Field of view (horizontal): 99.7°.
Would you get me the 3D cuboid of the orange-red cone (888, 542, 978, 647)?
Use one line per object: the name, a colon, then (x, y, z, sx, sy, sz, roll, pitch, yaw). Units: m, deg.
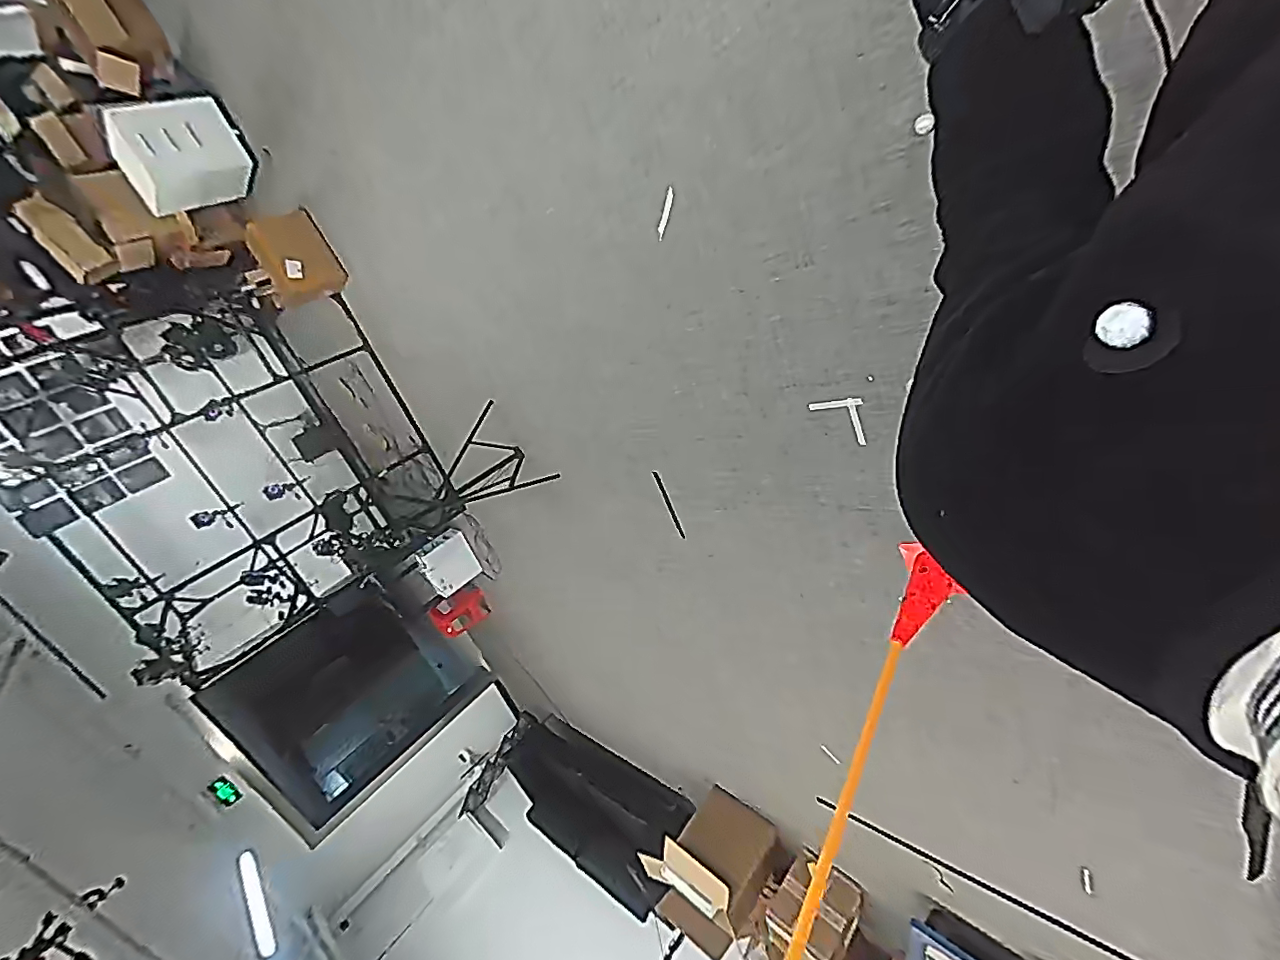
orange-red cone: (0.827, 0.365, 1.610, 0.199, 0.360, 0.198, -8, 115, 54)
